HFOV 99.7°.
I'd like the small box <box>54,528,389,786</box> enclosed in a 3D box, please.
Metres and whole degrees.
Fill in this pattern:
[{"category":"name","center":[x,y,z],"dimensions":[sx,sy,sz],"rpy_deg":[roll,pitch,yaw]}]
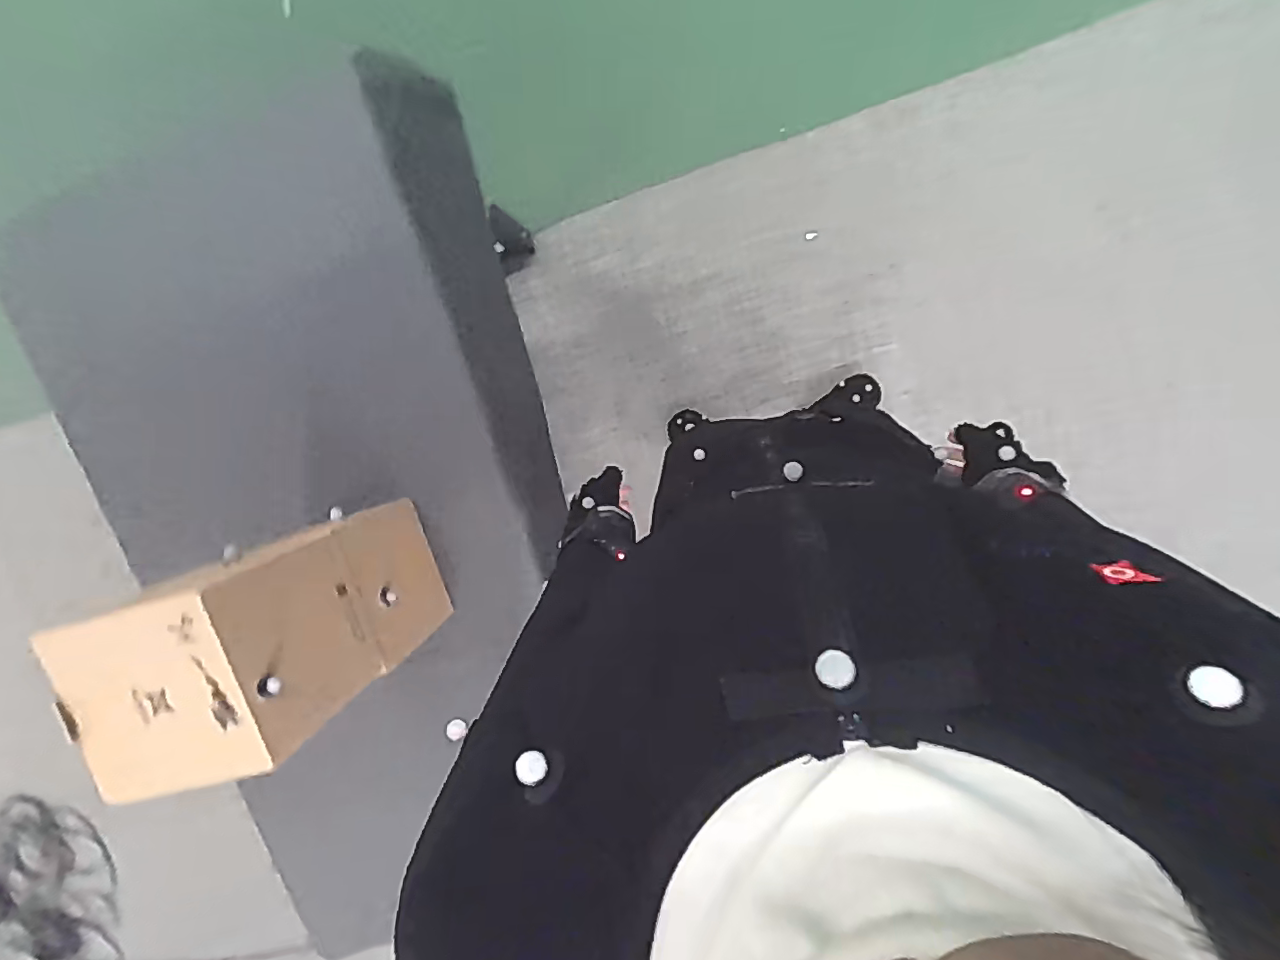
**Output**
[{"category":"small box","center":[-0.397,0.163,0.544],"dimensions":[0.179,0.176,0.168],"rpy_deg":[-19,96,9]}]

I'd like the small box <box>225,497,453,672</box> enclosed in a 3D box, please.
[{"category":"small box","center":[-0.372,0.139,0.702],"dimensions":[0.168,0.176,0.179],"rpy_deg":[-17,97,10]}]
